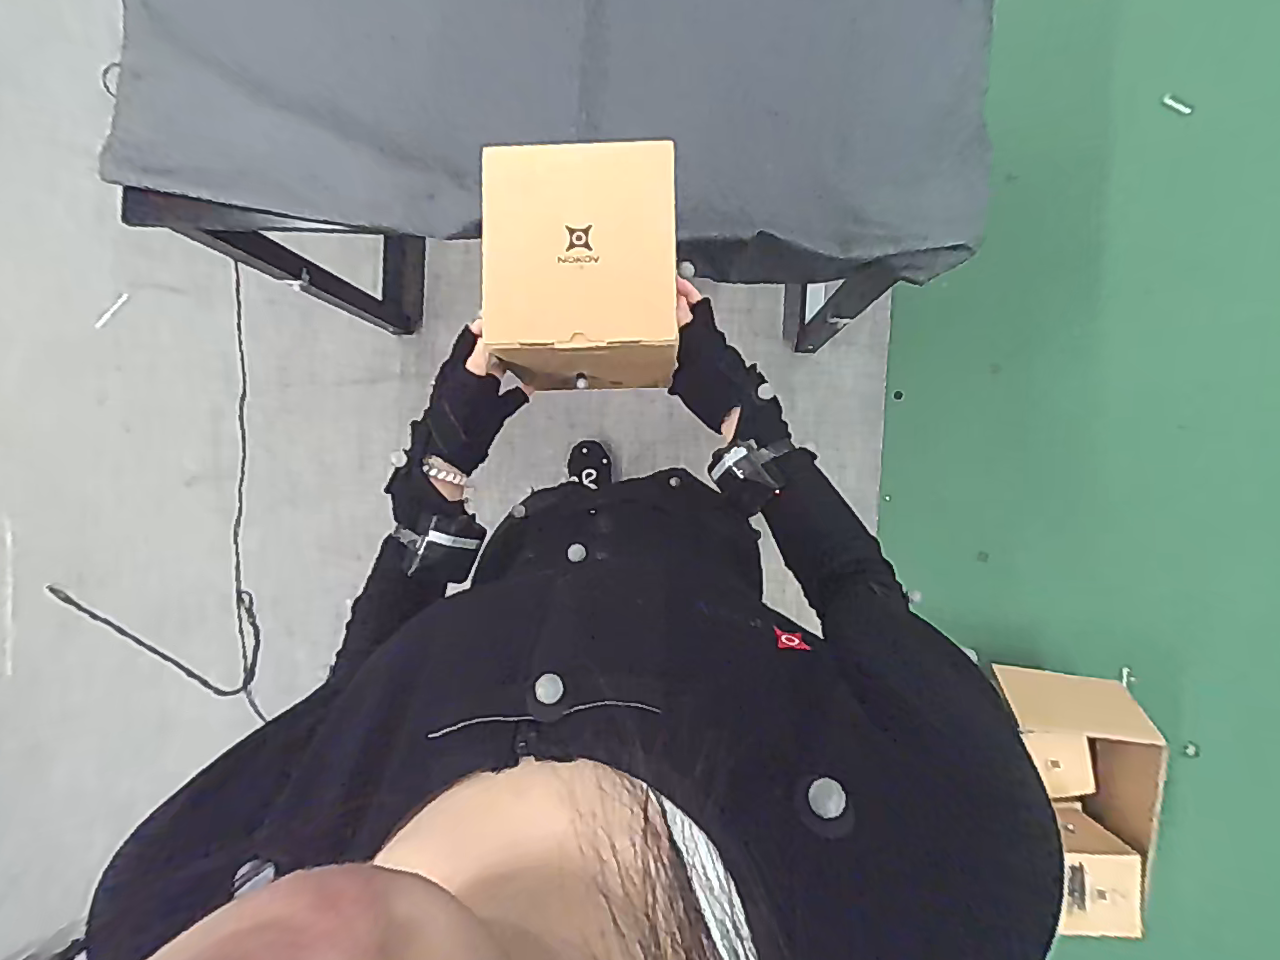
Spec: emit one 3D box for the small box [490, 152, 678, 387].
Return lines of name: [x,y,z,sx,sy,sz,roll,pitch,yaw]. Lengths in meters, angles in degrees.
small box: [-0.048,-0.199,0.553,0.168,0.176,0.179,-1,89,1]
